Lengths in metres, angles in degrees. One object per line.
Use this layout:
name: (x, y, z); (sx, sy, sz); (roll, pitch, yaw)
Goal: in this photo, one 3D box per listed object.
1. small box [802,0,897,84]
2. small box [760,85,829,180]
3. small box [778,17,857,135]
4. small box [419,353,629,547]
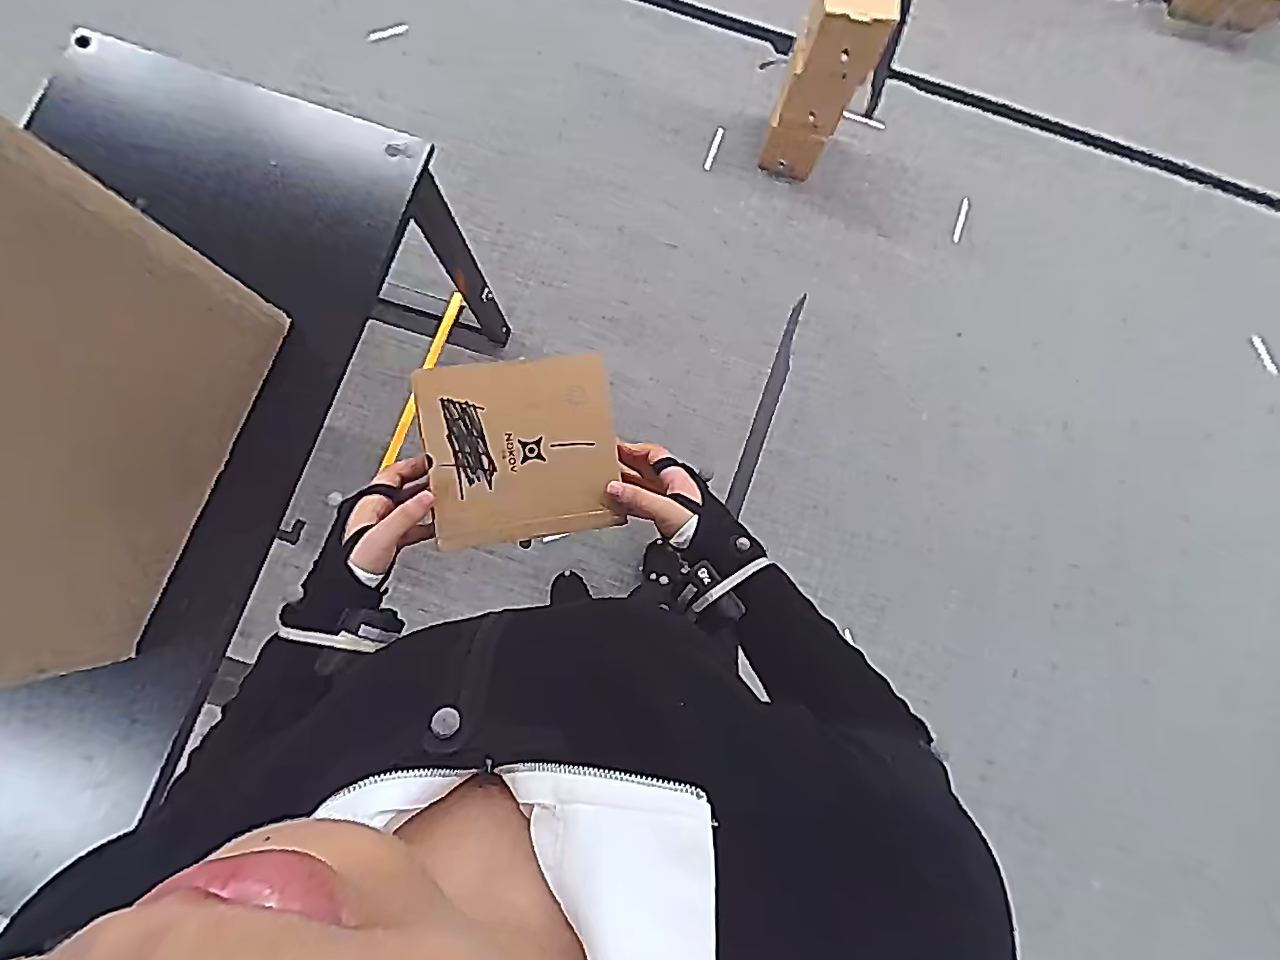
small box: (0.495, -1.091, 1.285); (0.168, 0.176, 0.179); (9, 82, 0)
small box: (0.469, -1.042, 1.610); (0.168, 0.176, 0.179); (15, 83, 1)
small box: (0.481, -1.076, 1.448); (0.168, 0.176, 0.179); (11, 82, 1)
small box: (-0.112, -0.031, 0.569); (0.179, 0.176, 0.168); (-7, 94, -8)
